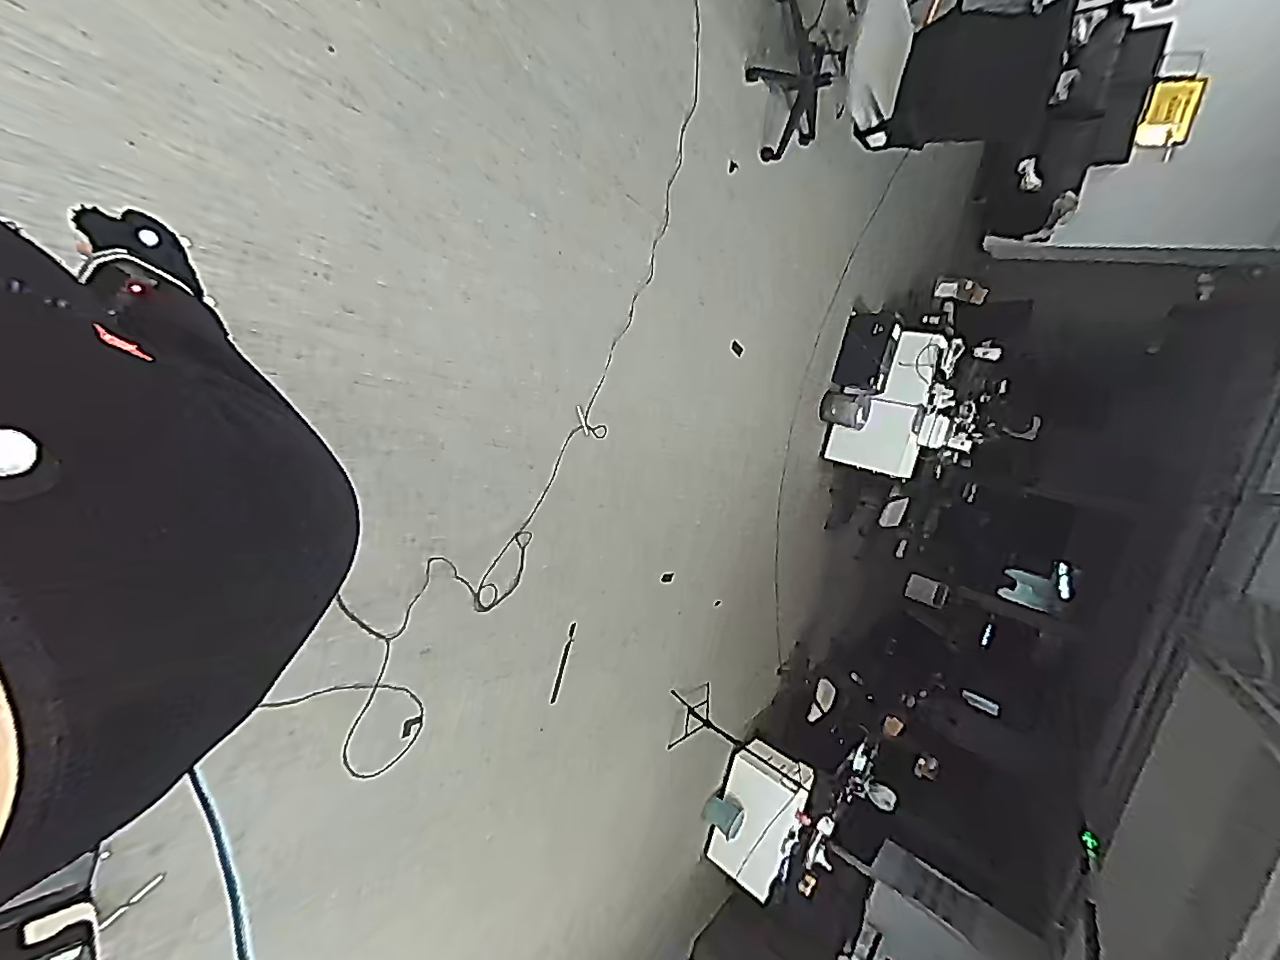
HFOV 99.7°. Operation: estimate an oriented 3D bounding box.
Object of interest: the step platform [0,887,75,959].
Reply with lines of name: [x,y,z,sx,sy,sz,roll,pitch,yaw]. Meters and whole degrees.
step platform: [-1.501,1.082,0.964,0.684,0.204,0.286,1,105,-51]
